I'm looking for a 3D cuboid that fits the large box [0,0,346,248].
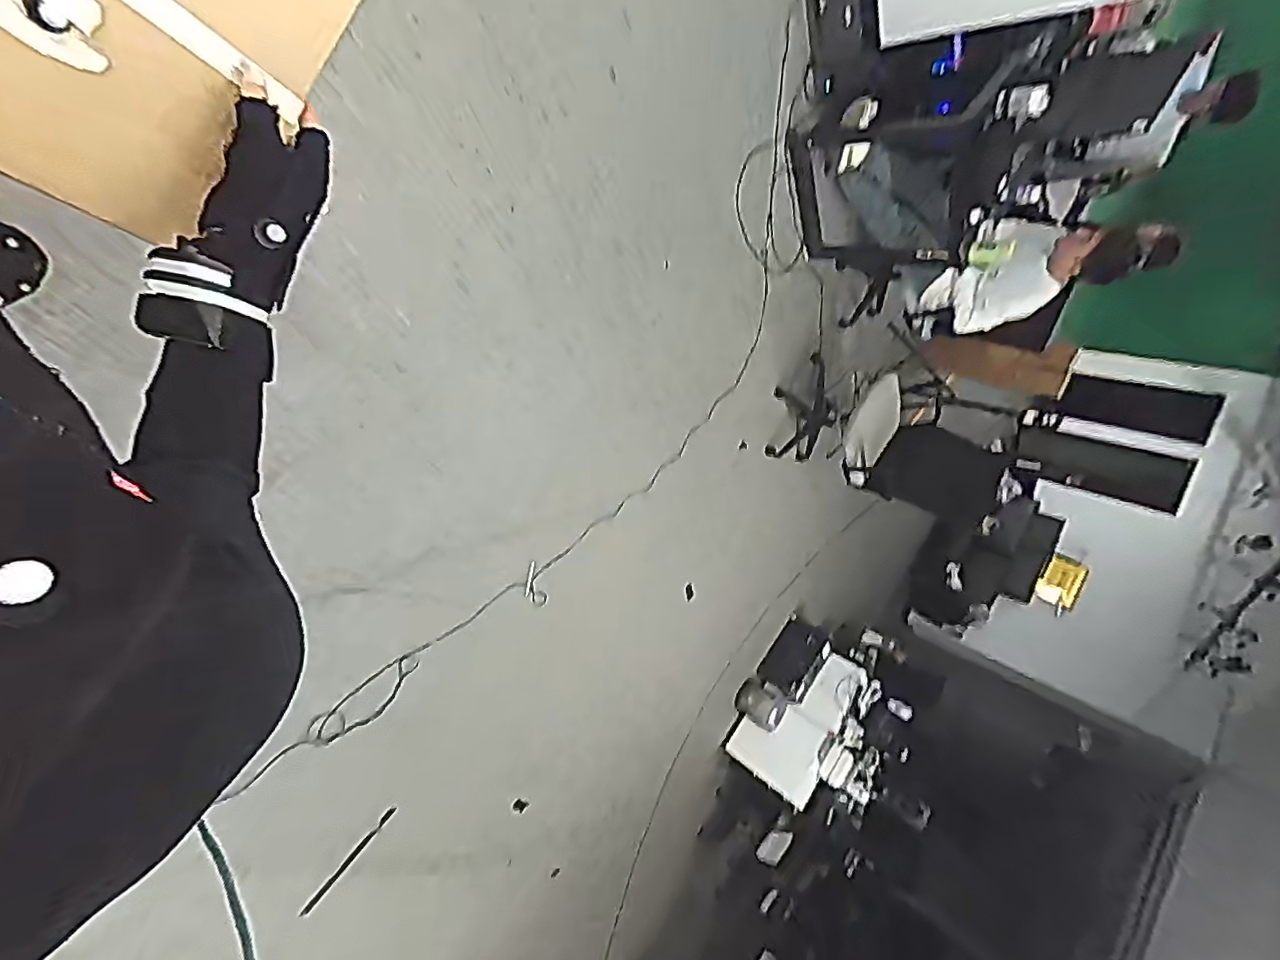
[{"bbox_3d":[-0.491,-0.447,0.370,0.320,0.320,0.408,-53,149,10],"label":"large box"}]
